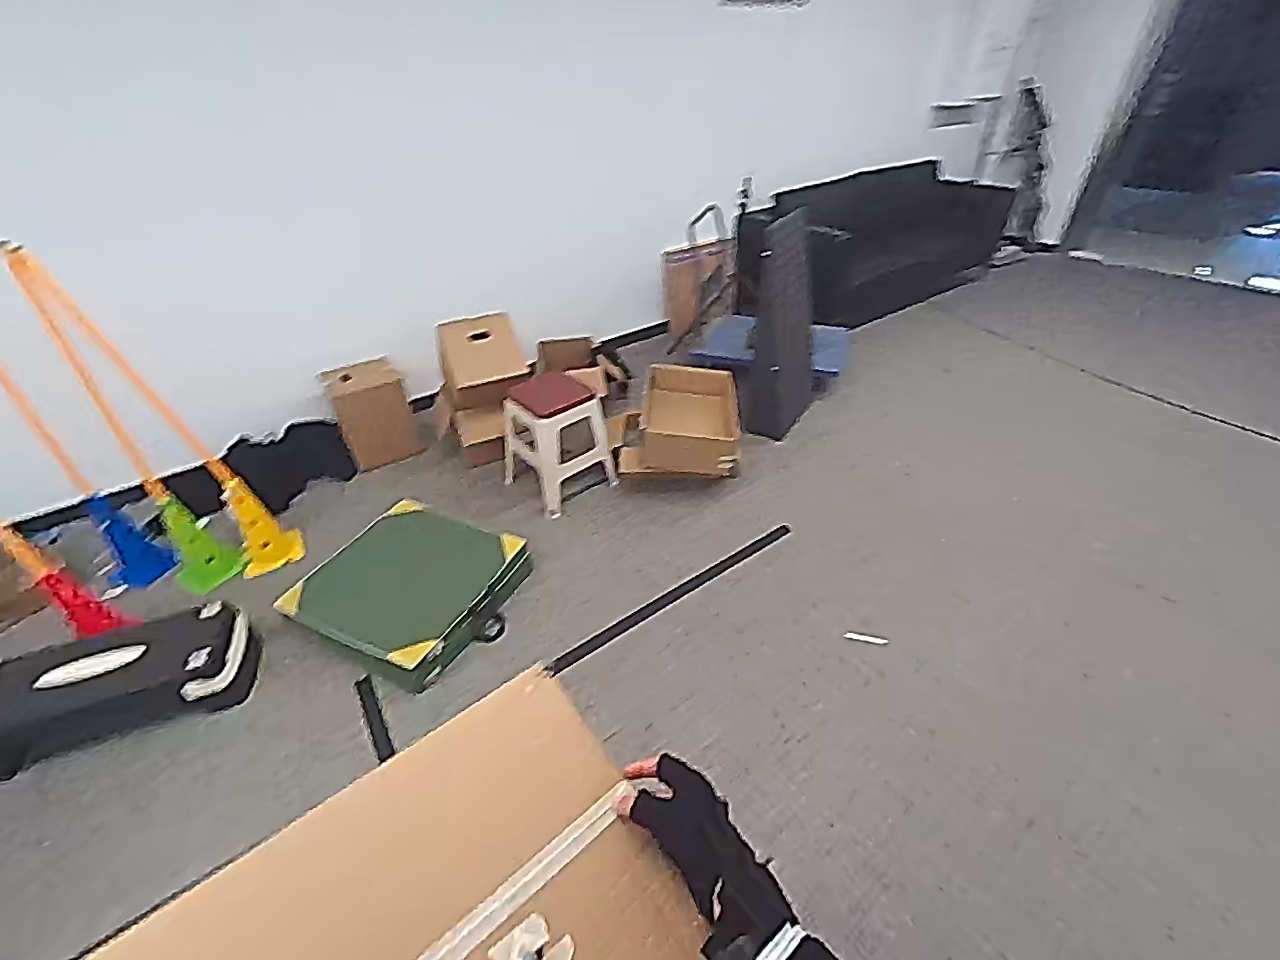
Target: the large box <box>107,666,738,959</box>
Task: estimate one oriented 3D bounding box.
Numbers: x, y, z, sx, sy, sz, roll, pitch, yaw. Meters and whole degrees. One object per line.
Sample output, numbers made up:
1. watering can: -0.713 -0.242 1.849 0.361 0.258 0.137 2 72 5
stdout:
1. large box: -0.178 0.479 0.534 0.408 0.320 0.320 -27 57 -30
